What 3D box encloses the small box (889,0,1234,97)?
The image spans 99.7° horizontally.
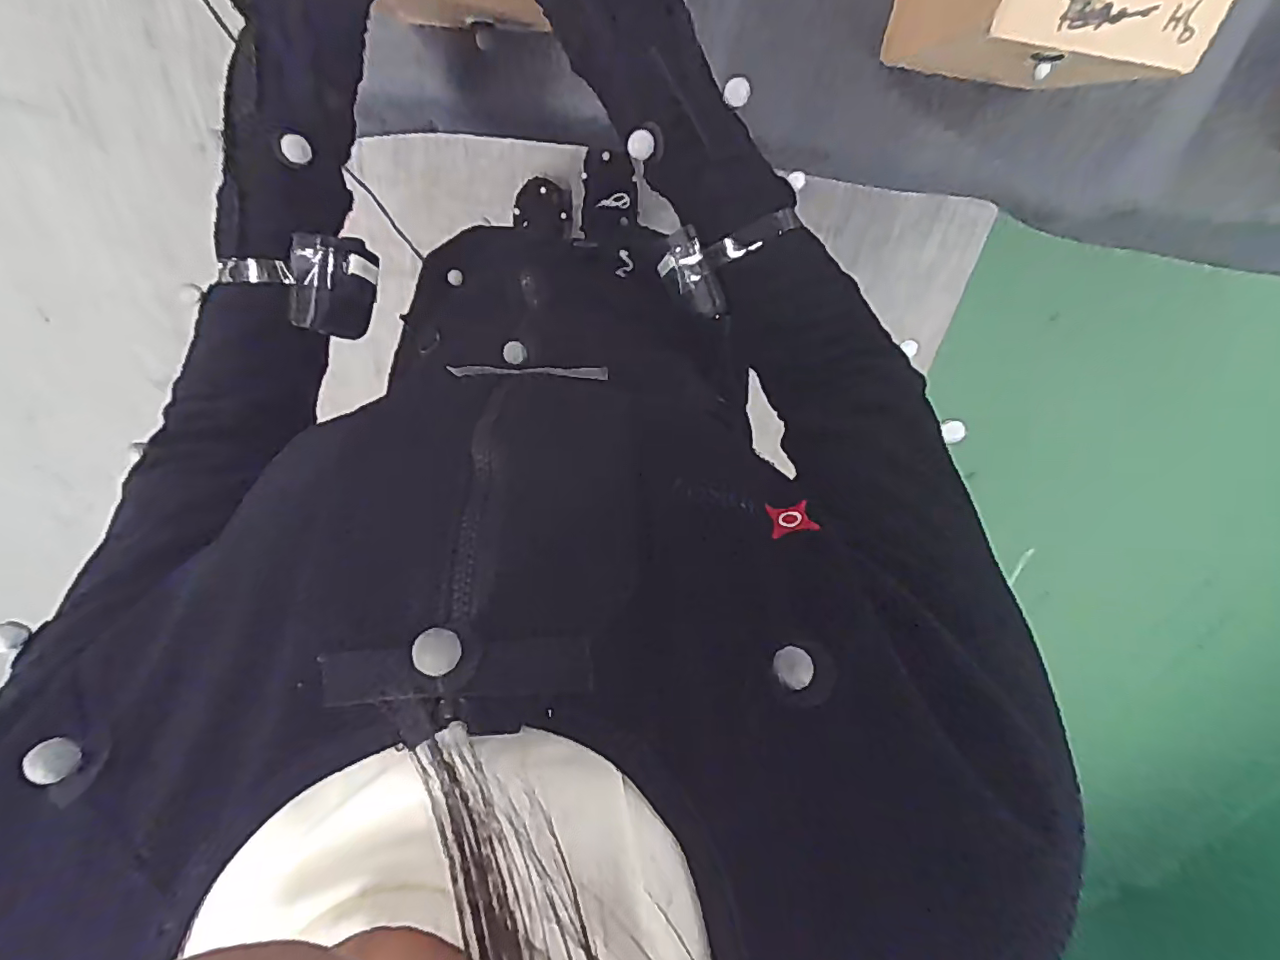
[{"bbox_3d":[0.318,-0.408,0.401,0.168,0.176,0.179,4,121,-8],"label":"small box"}]

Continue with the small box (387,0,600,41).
[{"bbox_3d":[-0.105,-0.405,0.336,0.168,0.176,0.179,1,122,-5],"label":"small box"}]
